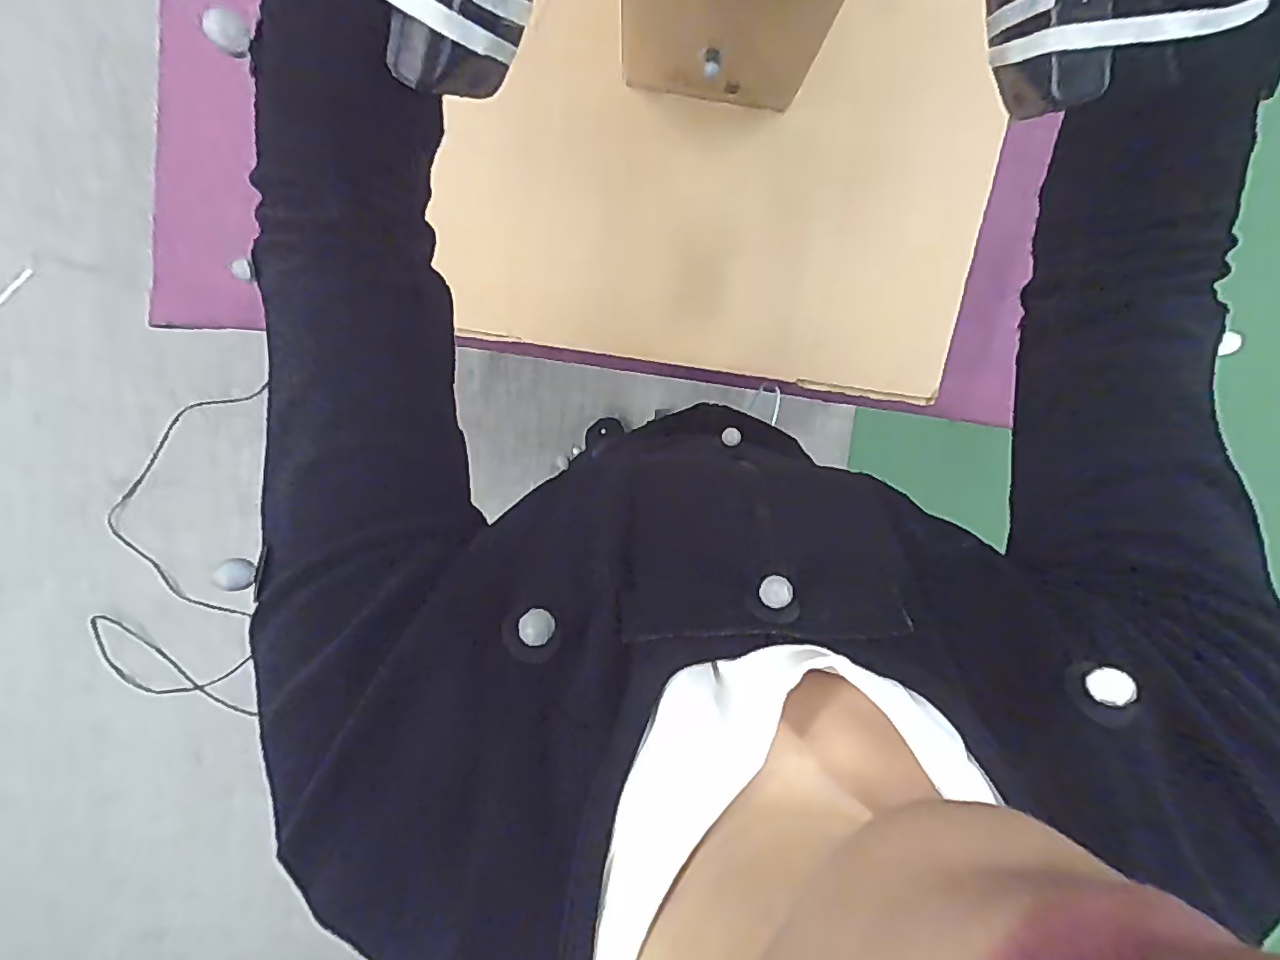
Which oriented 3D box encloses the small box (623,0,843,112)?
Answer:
[{"bbox_3d":[0.077,-0.447,0.437,0.168,0.176,0.179,9,96,-2],"label":"small box"}]
